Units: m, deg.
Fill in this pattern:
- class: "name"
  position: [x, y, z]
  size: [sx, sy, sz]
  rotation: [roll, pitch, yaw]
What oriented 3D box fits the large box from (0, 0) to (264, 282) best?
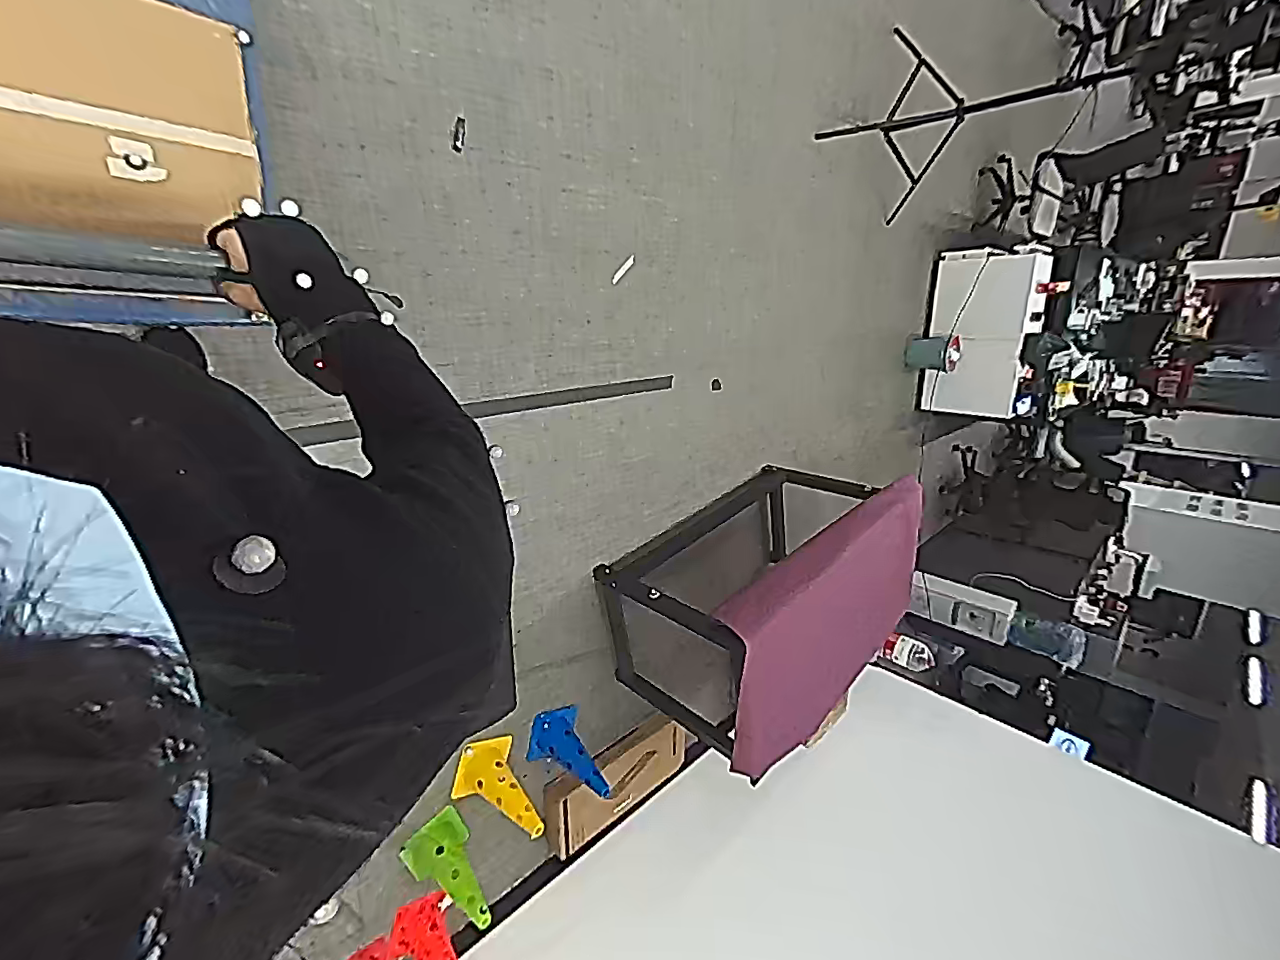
- class: "large box"
  position: [-0.819, -0.469, 0.762]
  size: [0.408, 0.320, 0.320]
  rotation: [-11, 109, -43]
